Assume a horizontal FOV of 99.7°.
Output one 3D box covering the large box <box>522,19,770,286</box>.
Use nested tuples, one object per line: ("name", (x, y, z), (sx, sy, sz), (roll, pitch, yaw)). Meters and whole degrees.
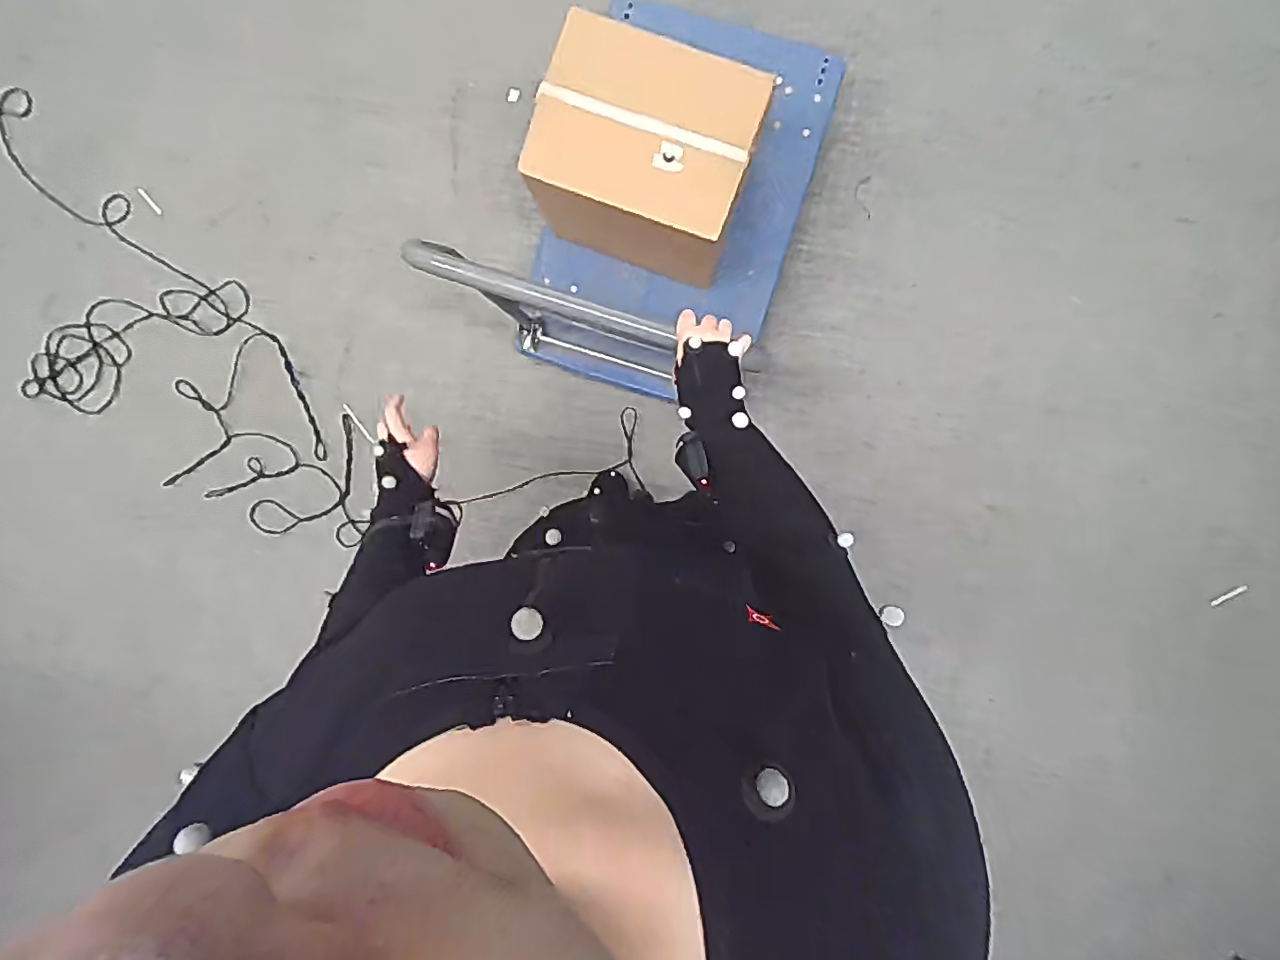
("large box", (0.011, -0.669, 1.167), (0.408, 0.320, 0.320), (20, 94, 1))
